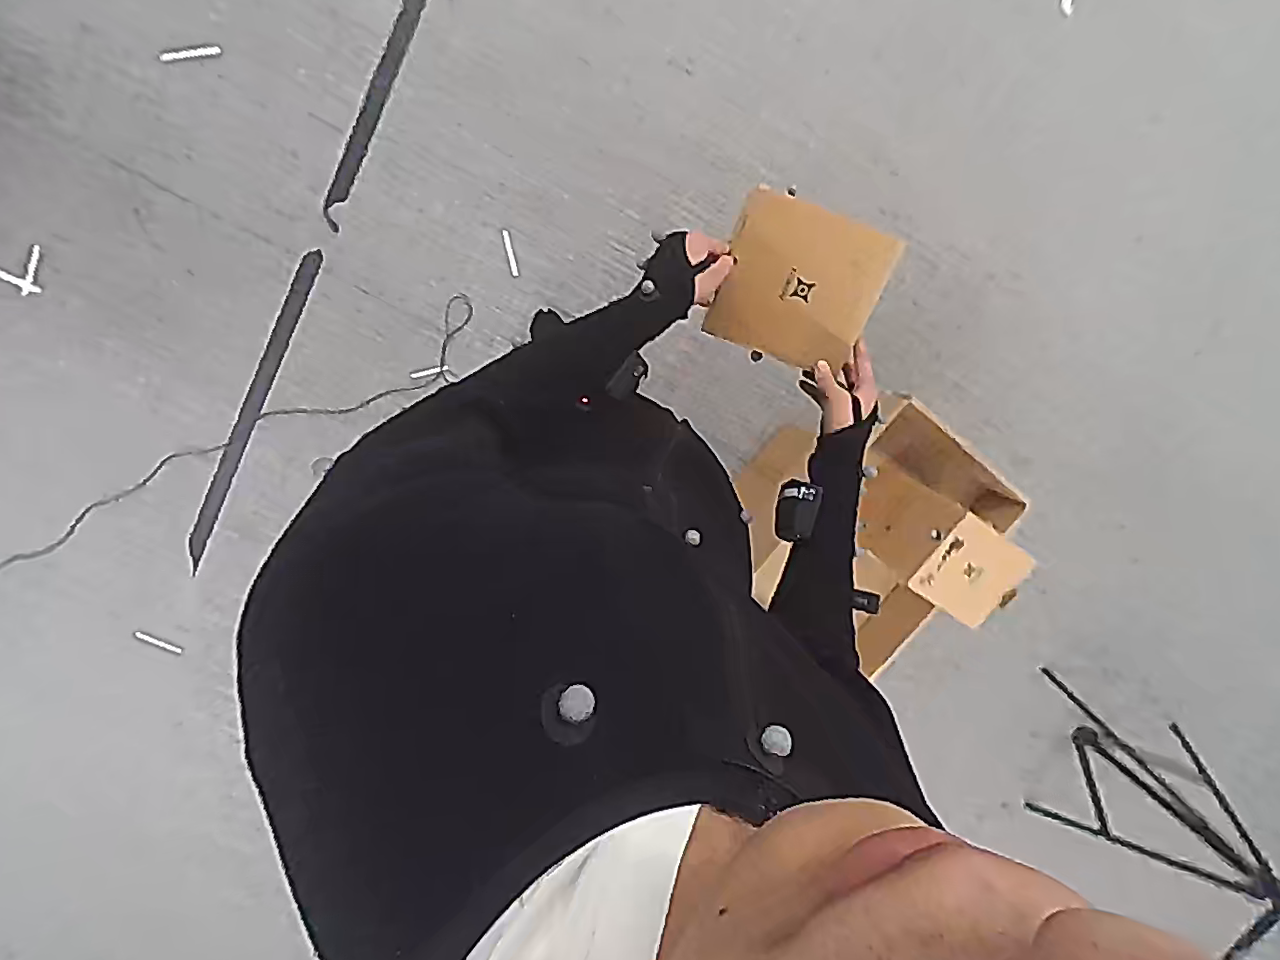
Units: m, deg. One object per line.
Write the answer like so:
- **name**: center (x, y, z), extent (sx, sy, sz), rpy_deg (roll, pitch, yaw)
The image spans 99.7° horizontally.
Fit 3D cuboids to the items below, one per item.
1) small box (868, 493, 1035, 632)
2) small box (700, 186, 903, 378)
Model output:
- **small box**: center (0.580, 0.147, 1.029), extent (0.179, 0.176, 0.168), rpy_deg (33, 102, -12)
- **small box**: center (0.188, -0.252, 0.682), extent (0.179, 0.176, 0.168), rpy_deg (20, 116, -1)
